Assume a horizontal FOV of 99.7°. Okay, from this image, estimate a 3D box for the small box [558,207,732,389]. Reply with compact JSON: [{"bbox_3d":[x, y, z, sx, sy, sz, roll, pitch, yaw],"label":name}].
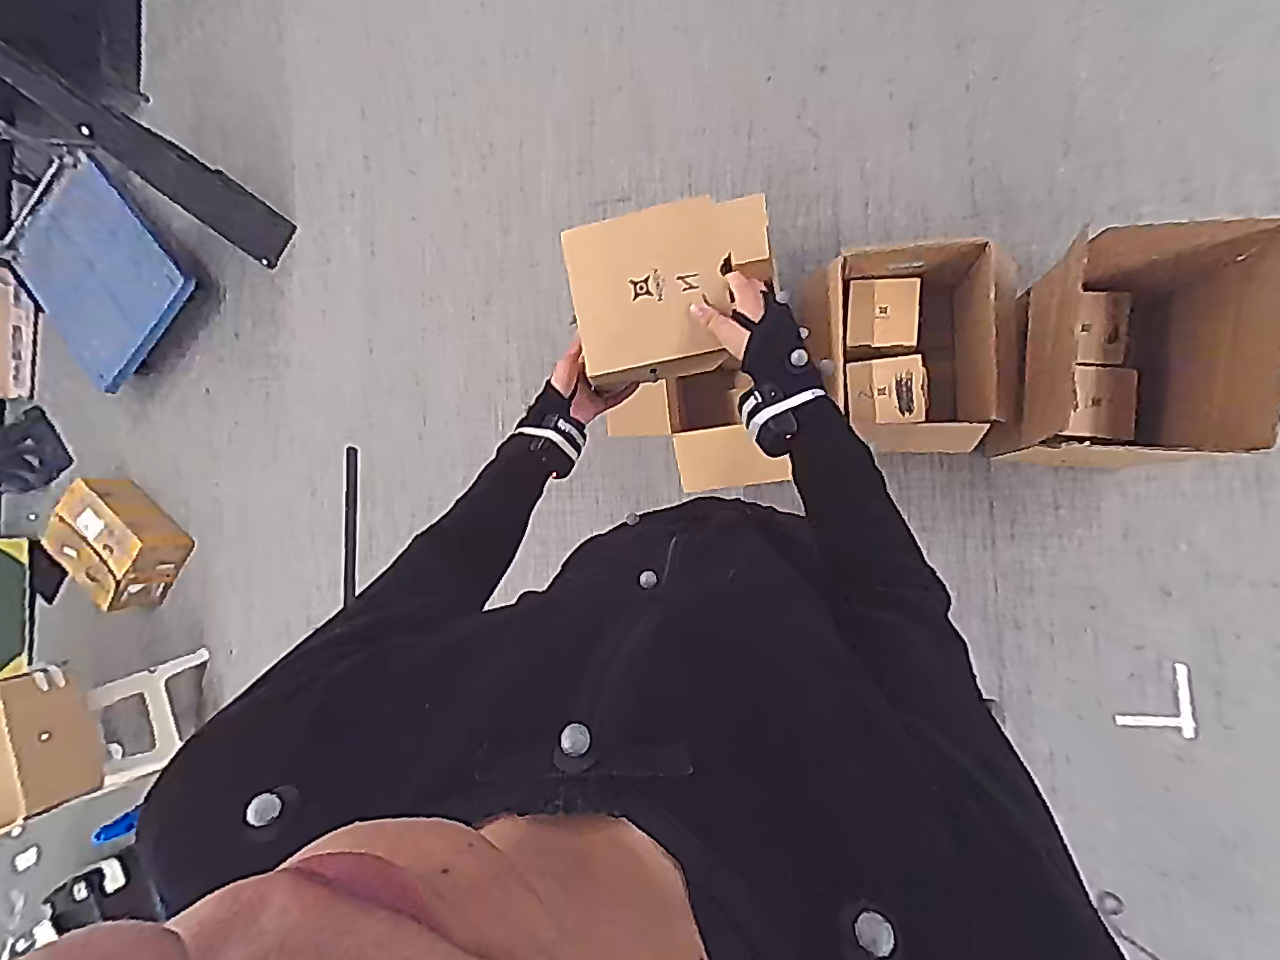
[{"bbox_3d":[0.004,-0.216,0.686,0.179,0.176,0.168,-11,95,-2],"label":"small box"}]
